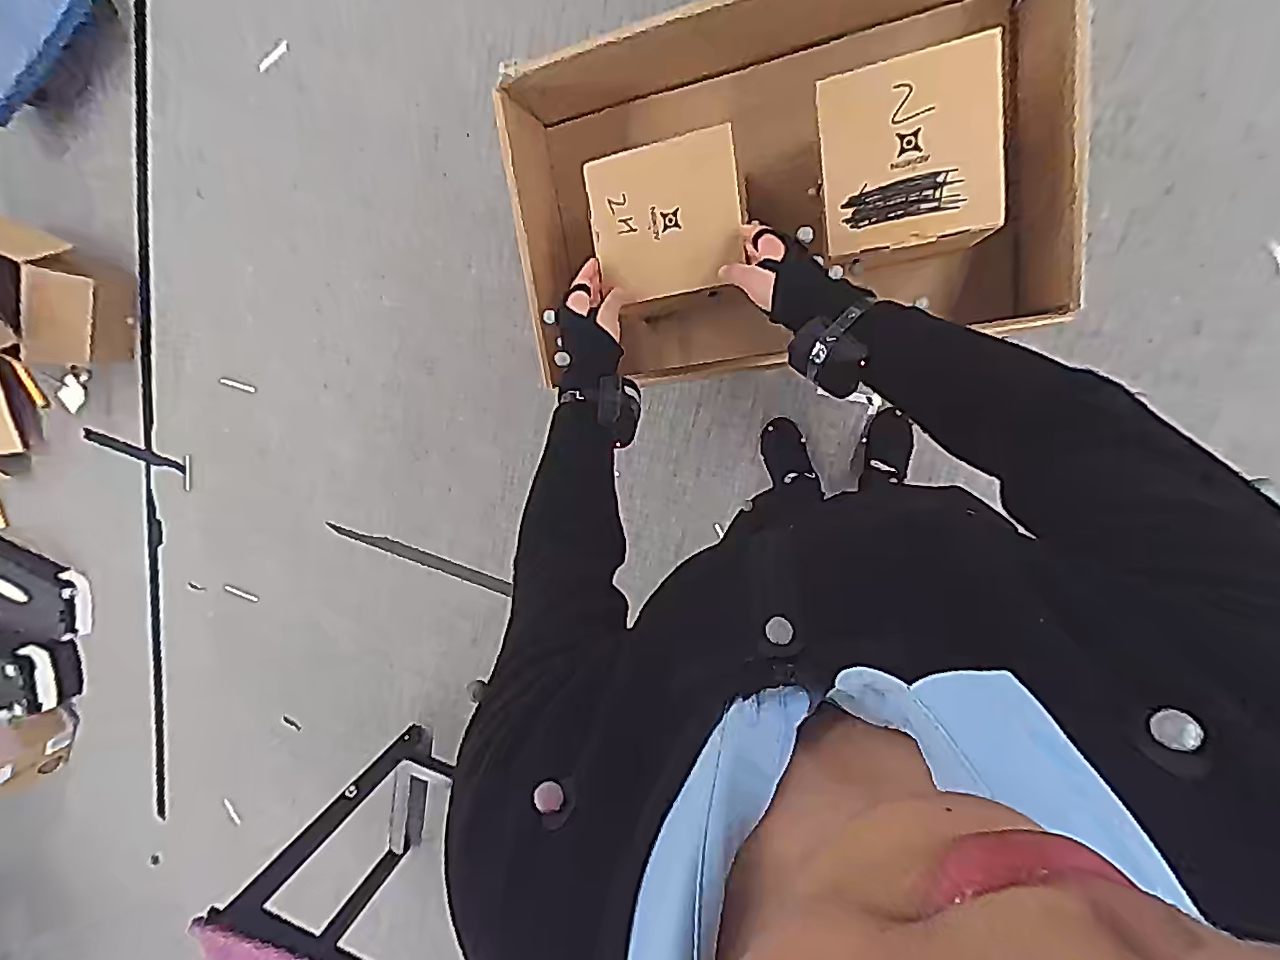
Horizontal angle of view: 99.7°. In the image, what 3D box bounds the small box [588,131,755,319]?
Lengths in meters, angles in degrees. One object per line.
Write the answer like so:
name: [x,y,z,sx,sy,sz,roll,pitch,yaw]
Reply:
small box: [0.052,-0.308,0.695,0.179,0.176,0.168,-5,100,17]
